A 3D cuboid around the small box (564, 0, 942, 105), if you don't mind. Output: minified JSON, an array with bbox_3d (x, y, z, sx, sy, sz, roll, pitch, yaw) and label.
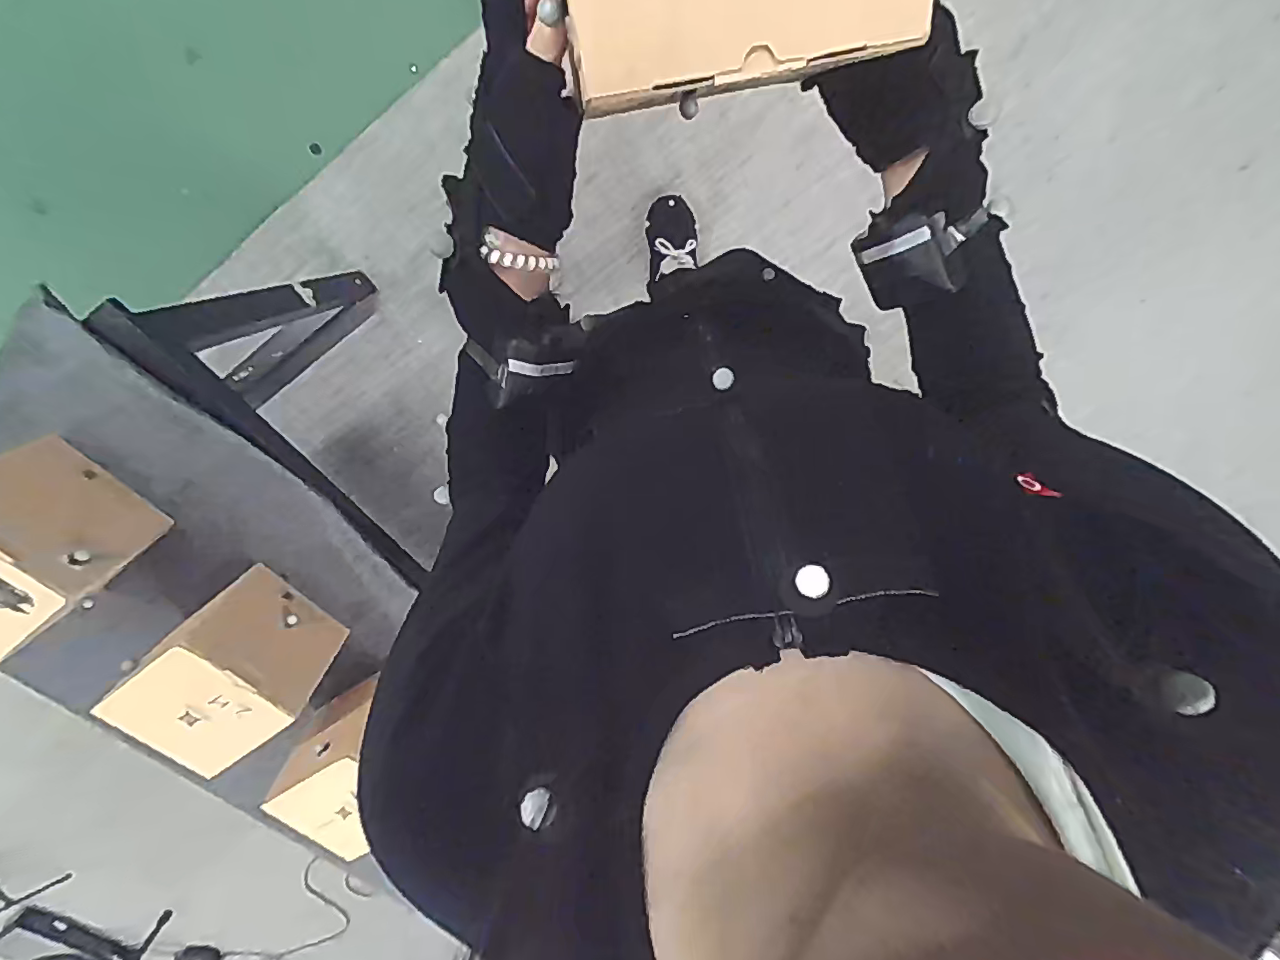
[{"bbox_3d":[0.037,-0.309,0.272,0.168,0.176,0.179,-12,125,-1],"label":"small box"}]

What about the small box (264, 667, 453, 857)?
[{"bbox_3d":[-0.413,0.426,0.833,0.179,0.176,0.168,-33,113,12],"label":"small box"}]

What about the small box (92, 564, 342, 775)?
[{"bbox_3d":[-0.554,0.252,0.738,0.179,0.176,0.168,-34,114,12],"label":"small box"}]
